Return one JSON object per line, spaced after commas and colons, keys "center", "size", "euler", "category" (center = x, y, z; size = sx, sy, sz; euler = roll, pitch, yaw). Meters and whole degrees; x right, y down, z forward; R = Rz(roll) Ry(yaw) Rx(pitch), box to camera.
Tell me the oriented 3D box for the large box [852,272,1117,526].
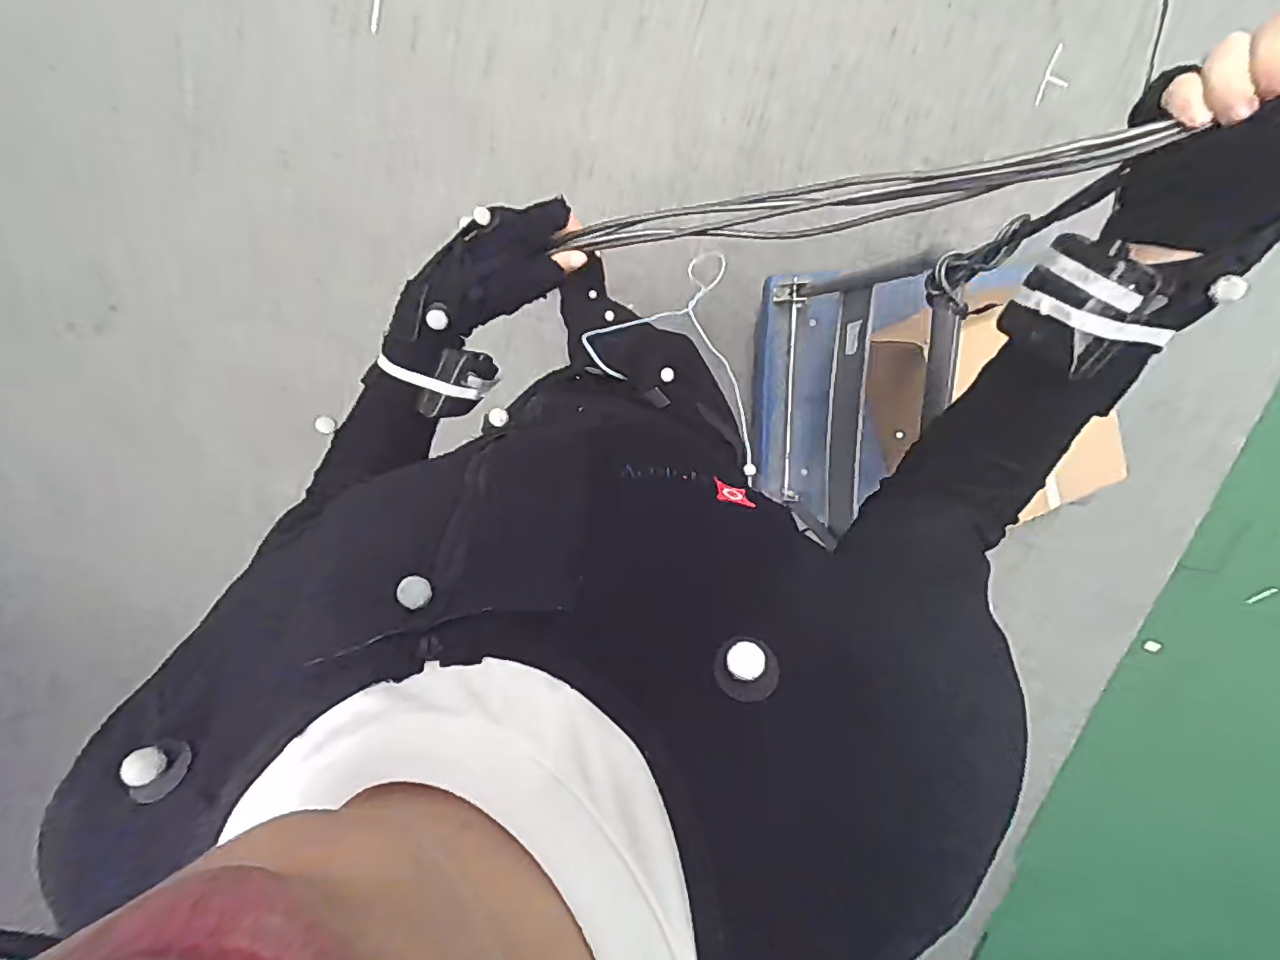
{"center": [0.710, -0.174, 1.159], "size": [0.320, 0.320, 0.408], "euler": [-22, 104, 3], "category": "large box"}
